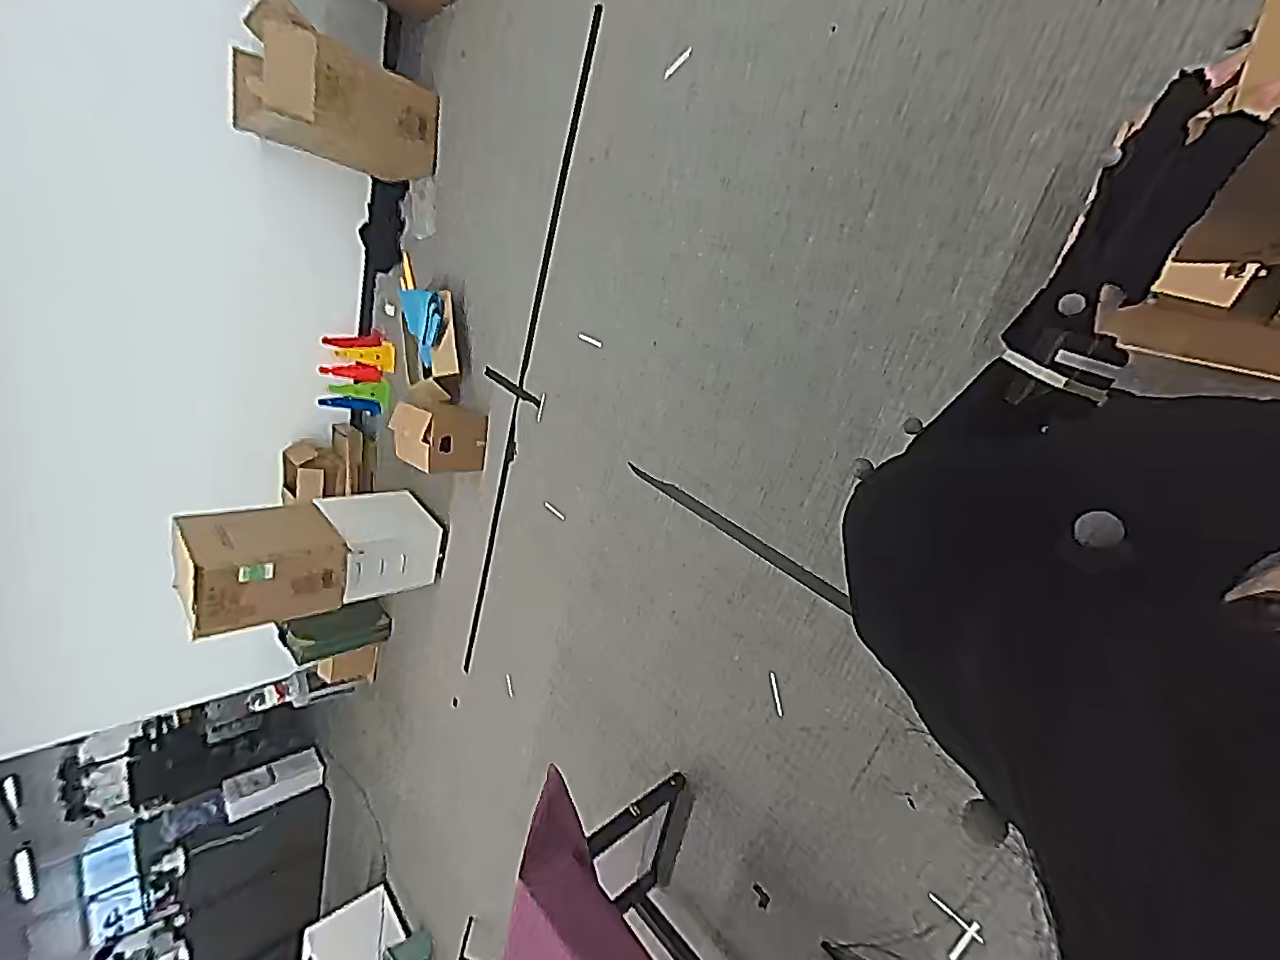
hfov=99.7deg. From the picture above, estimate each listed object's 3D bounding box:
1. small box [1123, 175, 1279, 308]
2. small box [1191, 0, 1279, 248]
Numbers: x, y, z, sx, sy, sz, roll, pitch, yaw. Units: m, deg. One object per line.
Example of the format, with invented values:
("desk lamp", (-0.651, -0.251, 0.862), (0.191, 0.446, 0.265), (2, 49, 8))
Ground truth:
("small box", (1.013, -0.416, 0.959), (0.179, 0.176, 0.168), (36, 119, 36))
("small box", (0.507, -0.278, 0.353), (0.168, 0.176, 0.179), (18, 87, 39))
